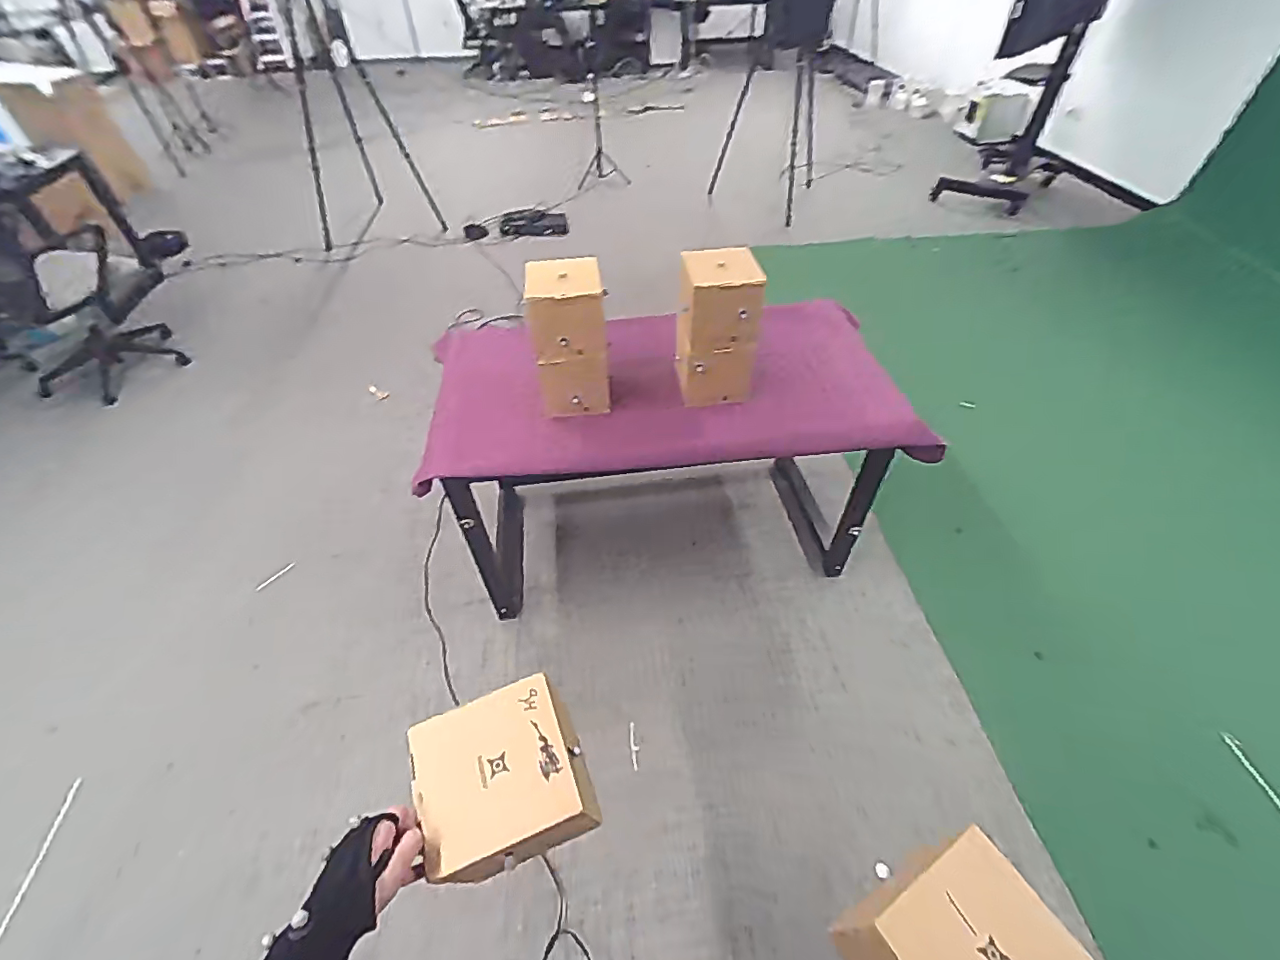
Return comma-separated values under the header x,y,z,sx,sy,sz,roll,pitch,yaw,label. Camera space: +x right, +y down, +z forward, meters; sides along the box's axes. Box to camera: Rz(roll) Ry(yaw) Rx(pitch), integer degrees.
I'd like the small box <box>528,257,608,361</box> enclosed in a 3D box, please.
x,y,z,sx,sy,sz,roll,pitch,yaw,label
-0.165,-0.396,1.255,0.168,0.176,0.179,-6,48,-5,small box

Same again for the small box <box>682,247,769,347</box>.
x,y,z,sx,sy,sz,roll,pitch,yaw,label
0.193,-0.427,1.276,0.168,0.176,0.179,-5,46,-4,small box

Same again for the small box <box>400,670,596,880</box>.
x,y,z,sx,sy,sz,roll,pitch,yaw,label
-0.170,0.370,0.673,0.179,0.176,0.168,-21,54,-9,small box

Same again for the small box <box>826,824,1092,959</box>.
x,y,z,sx,sy,sz,roll,pitch,yaw,label
0.331,0.507,0.566,0.168,0.176,0.179,-23,52,-22,small box

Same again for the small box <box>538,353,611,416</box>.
x,y,z,sx,sy,sz,roll,pitch,yaw,label
-0.163,-0.283,1.372,0.168,0.176,0.179,-5,47,-3,small box
